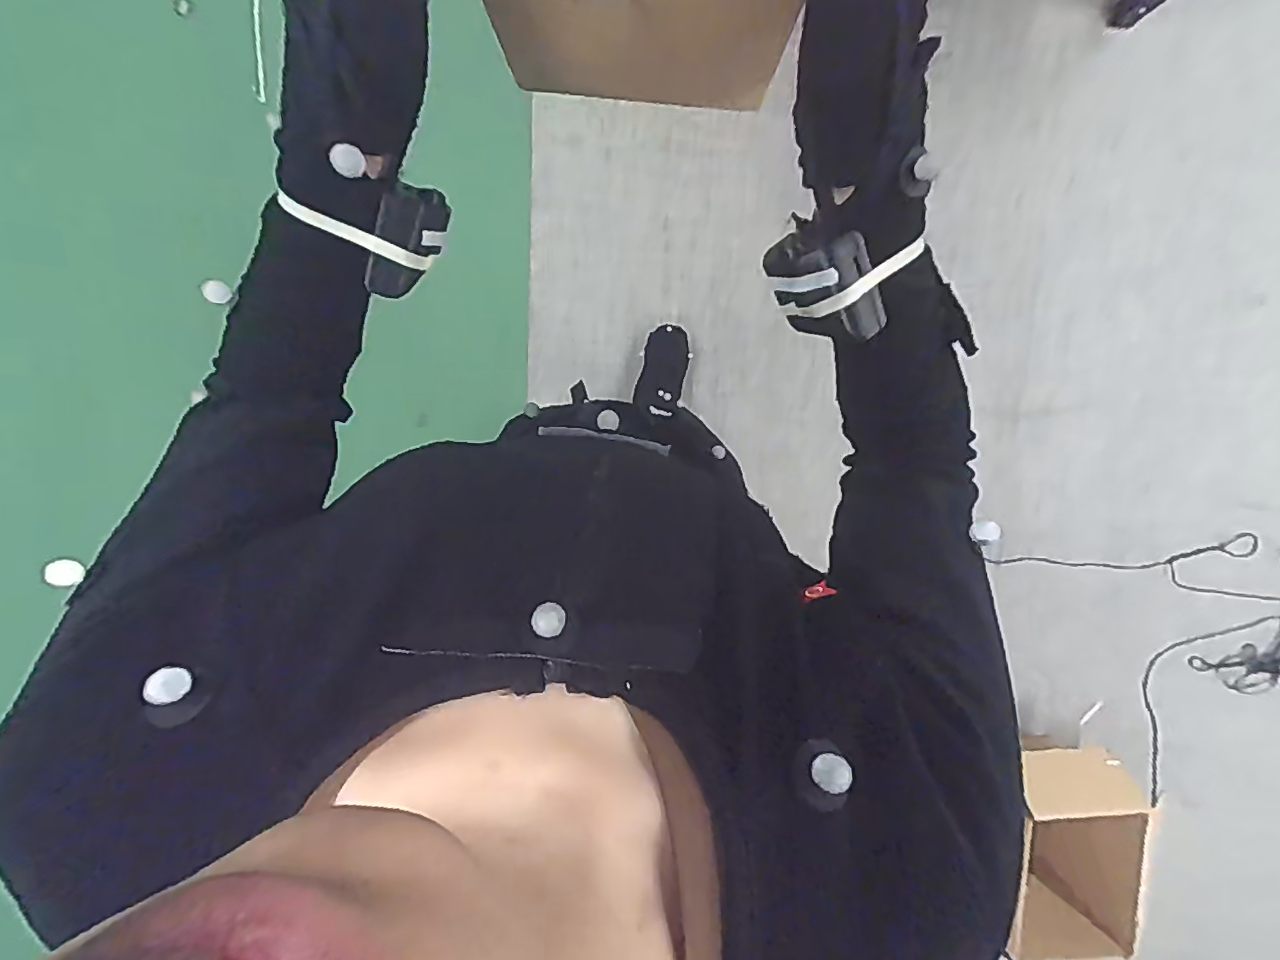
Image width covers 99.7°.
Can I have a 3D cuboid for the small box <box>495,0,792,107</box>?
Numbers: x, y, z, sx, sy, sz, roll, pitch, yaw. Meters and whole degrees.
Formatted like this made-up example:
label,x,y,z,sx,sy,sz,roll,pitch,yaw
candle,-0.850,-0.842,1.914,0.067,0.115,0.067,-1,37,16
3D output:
label,x,y,z,sx,sy,sz,roll,pitch,yaw
small box,0.006,-0.339,0.296,0.179,0.176,0.168,5,99,-1
